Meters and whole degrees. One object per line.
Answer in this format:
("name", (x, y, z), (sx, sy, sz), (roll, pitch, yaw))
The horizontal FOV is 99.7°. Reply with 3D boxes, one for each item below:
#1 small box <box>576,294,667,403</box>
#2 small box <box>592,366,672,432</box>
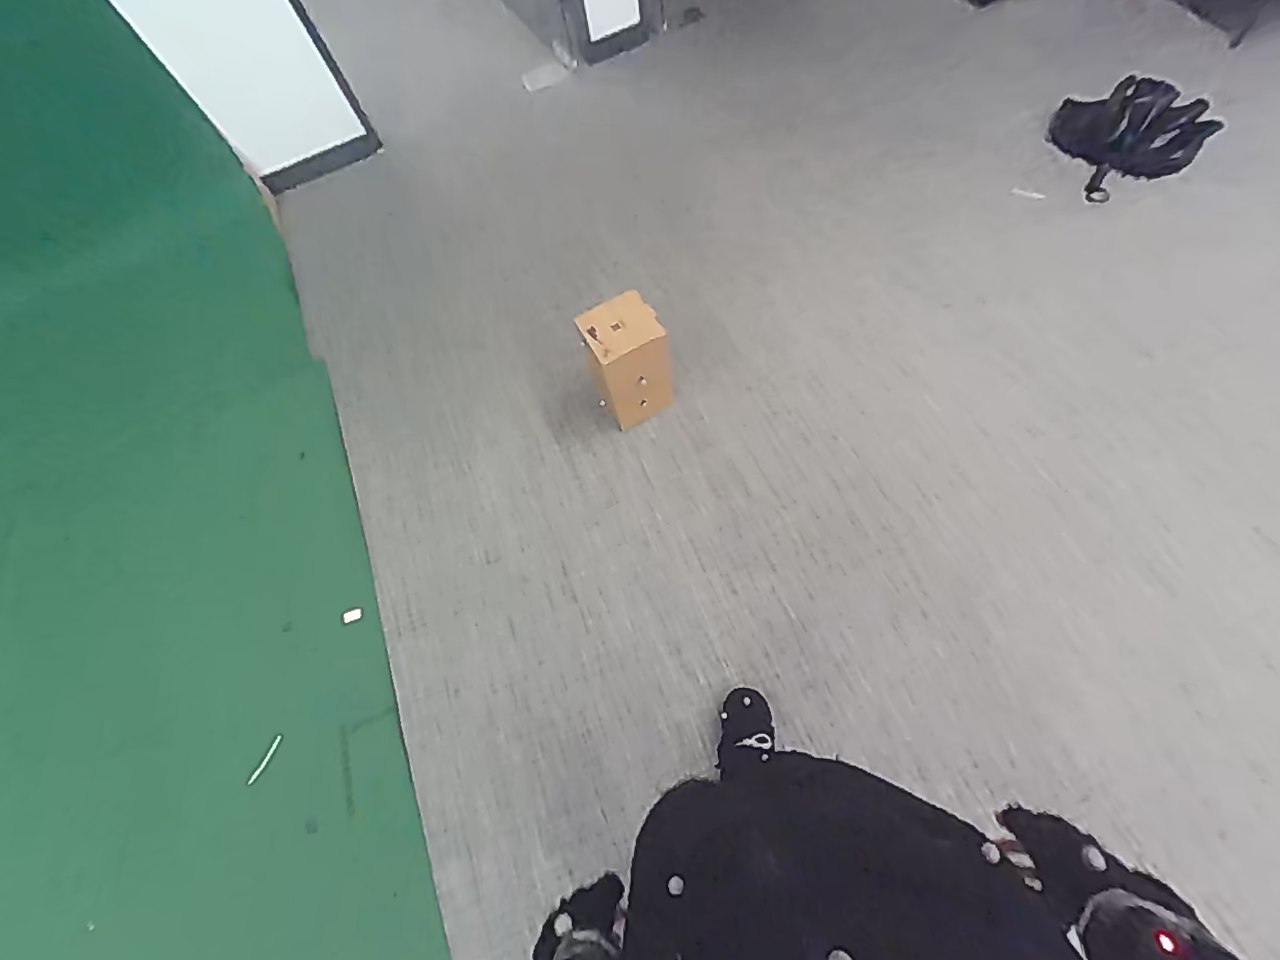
("small box", (-0.041, -0.332, 1.387), (0.179, 0.176, 0.168), (-28, 66, -6))
("small box", (-0.023, -0.271, 1.537), (0.179, 0.176, 0.168), (-32, 67, -8))
